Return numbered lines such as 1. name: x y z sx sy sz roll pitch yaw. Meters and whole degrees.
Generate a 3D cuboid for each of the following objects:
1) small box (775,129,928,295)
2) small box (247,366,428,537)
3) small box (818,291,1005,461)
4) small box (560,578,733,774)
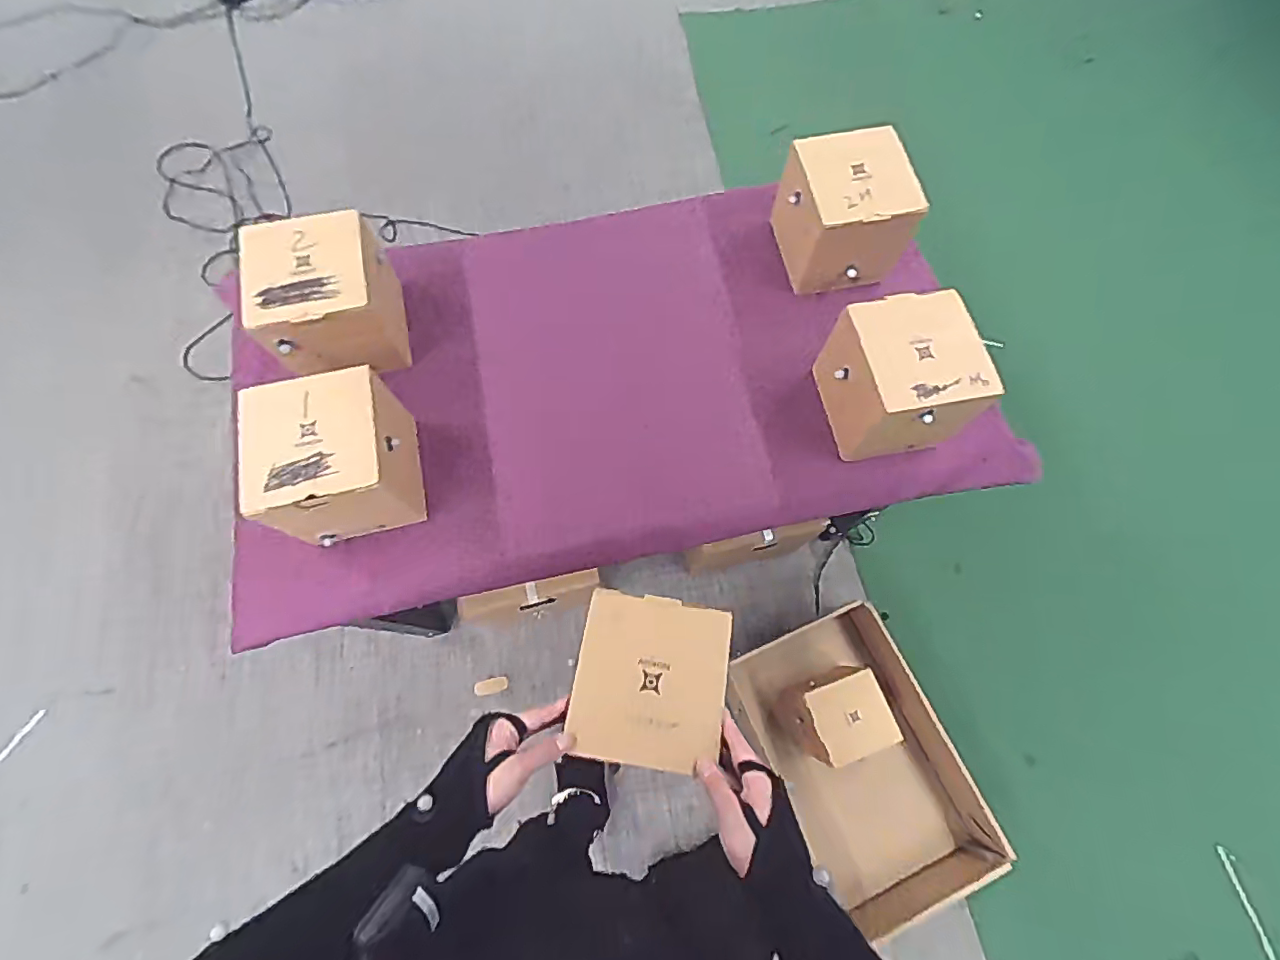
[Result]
1. small box: 0.341 -0.444 0.912 0.168 0.176 0.179 -10 72 -2
2. small box: -0.411 -0.029 0.756 0.168 0.176 0.179 -13 70 -6
3. small box: 0.387 -0.150 0.810 0.168 0.176 0.179 -10 69 -3
4. small box: 0.005 0.238 0.656 0.168 0.176 0.179 11 65 0
